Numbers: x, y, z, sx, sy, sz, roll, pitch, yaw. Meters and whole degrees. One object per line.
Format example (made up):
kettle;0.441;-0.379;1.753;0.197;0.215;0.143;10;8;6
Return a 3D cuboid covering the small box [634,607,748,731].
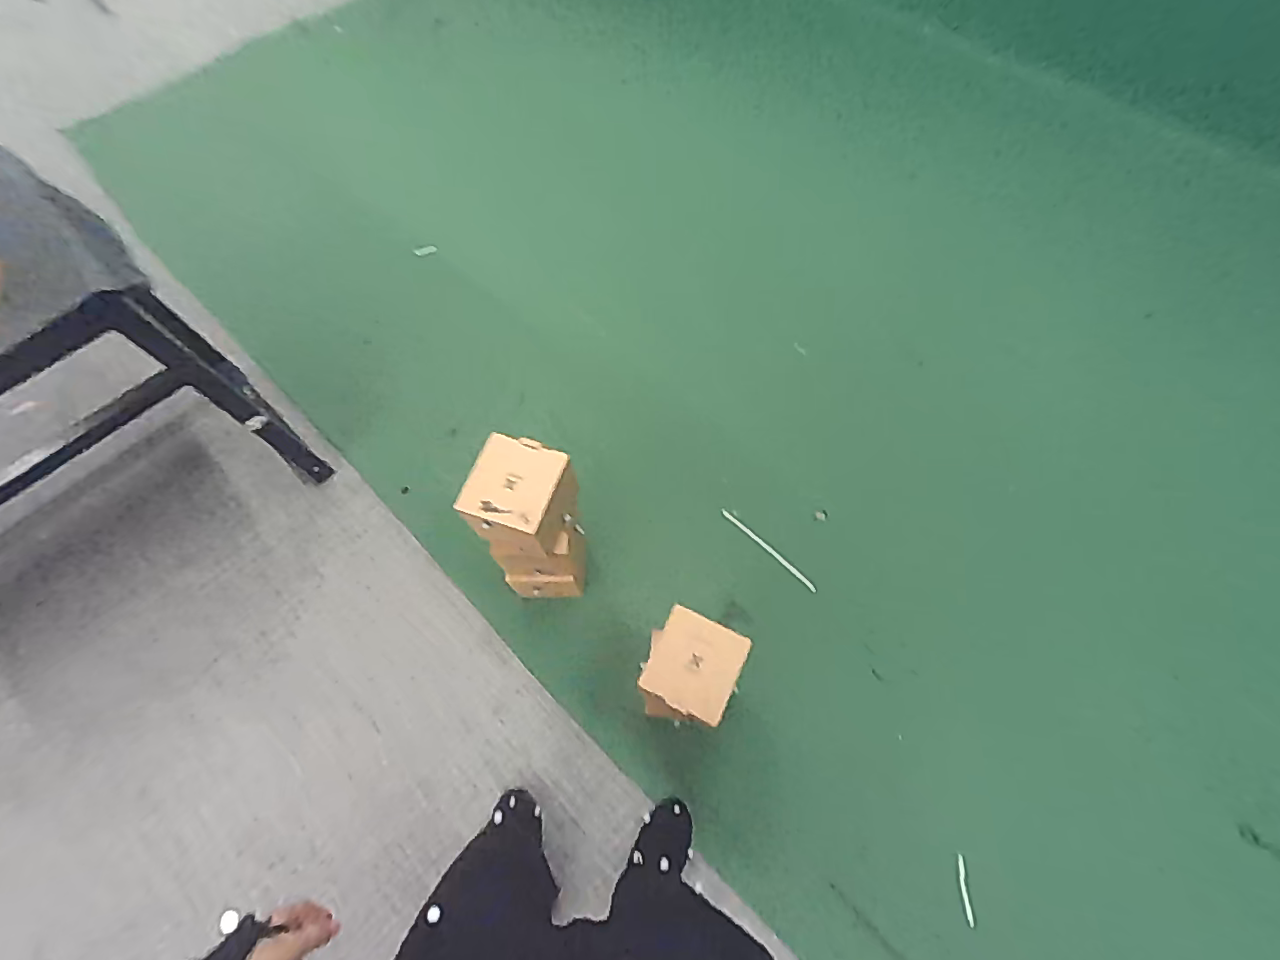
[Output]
small box;0.101;0.388;1.098;0.168;0.176;0.179;24;67;11

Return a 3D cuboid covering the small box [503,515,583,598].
small box;-0.239;0.201;1.380;0.168;0.176;0.179;-1;64;2

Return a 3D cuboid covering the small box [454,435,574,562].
small box;-0.241;0.042;1.091;0.168;0.176;0.179;17;66;10

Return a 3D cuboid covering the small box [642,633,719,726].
small box;0.096;0.462;1.244;0.168;0.176;0.179;5;66;4
